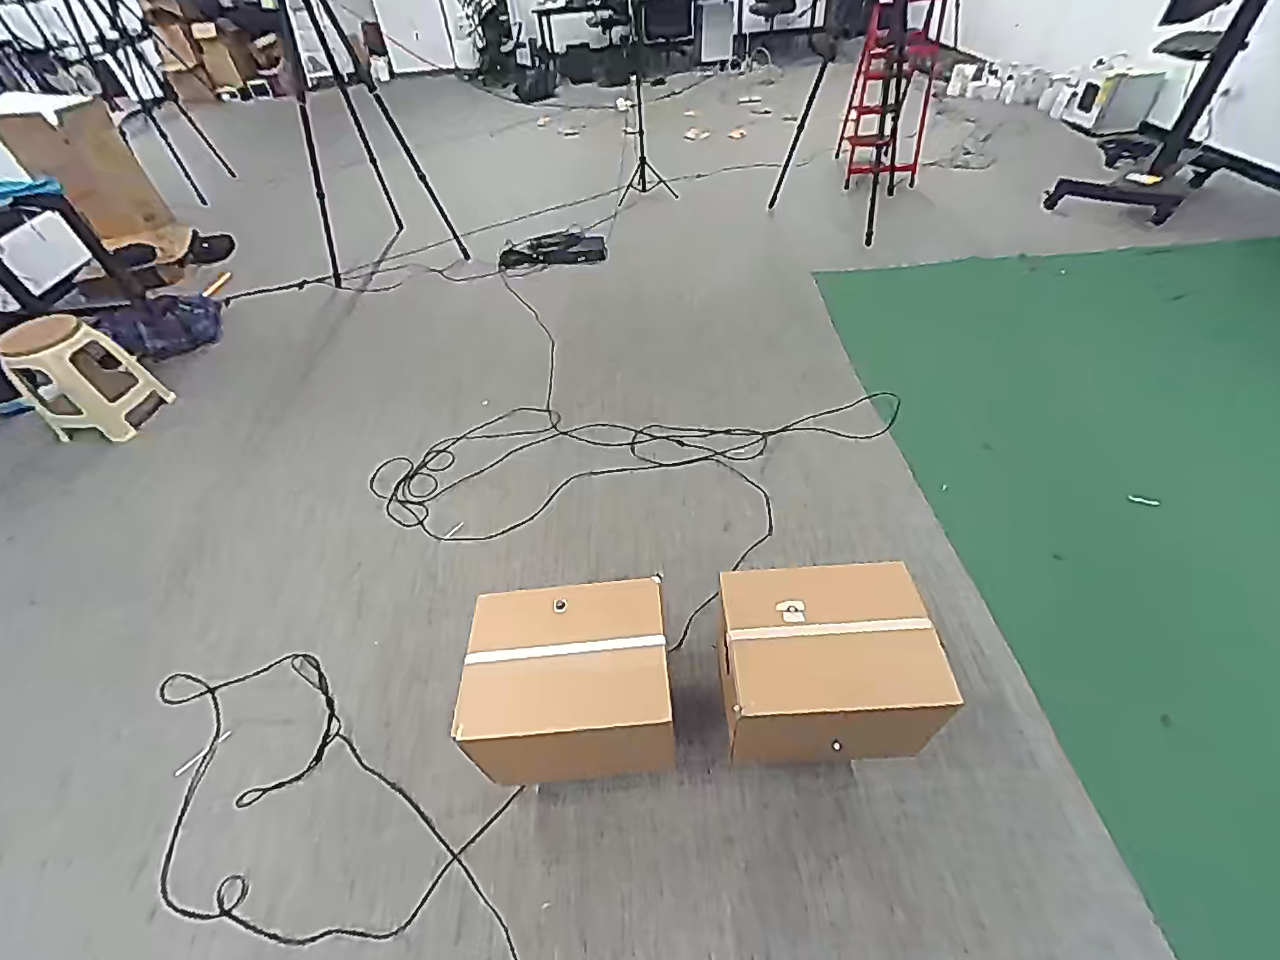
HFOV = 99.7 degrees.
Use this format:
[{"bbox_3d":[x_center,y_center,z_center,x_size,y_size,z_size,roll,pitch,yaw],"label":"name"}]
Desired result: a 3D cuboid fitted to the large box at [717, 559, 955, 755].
[{"bbox_3d":[0.394,0.402,1.209,0.408,0.320,0.320,-4,47,3],"label":"large box"}]
